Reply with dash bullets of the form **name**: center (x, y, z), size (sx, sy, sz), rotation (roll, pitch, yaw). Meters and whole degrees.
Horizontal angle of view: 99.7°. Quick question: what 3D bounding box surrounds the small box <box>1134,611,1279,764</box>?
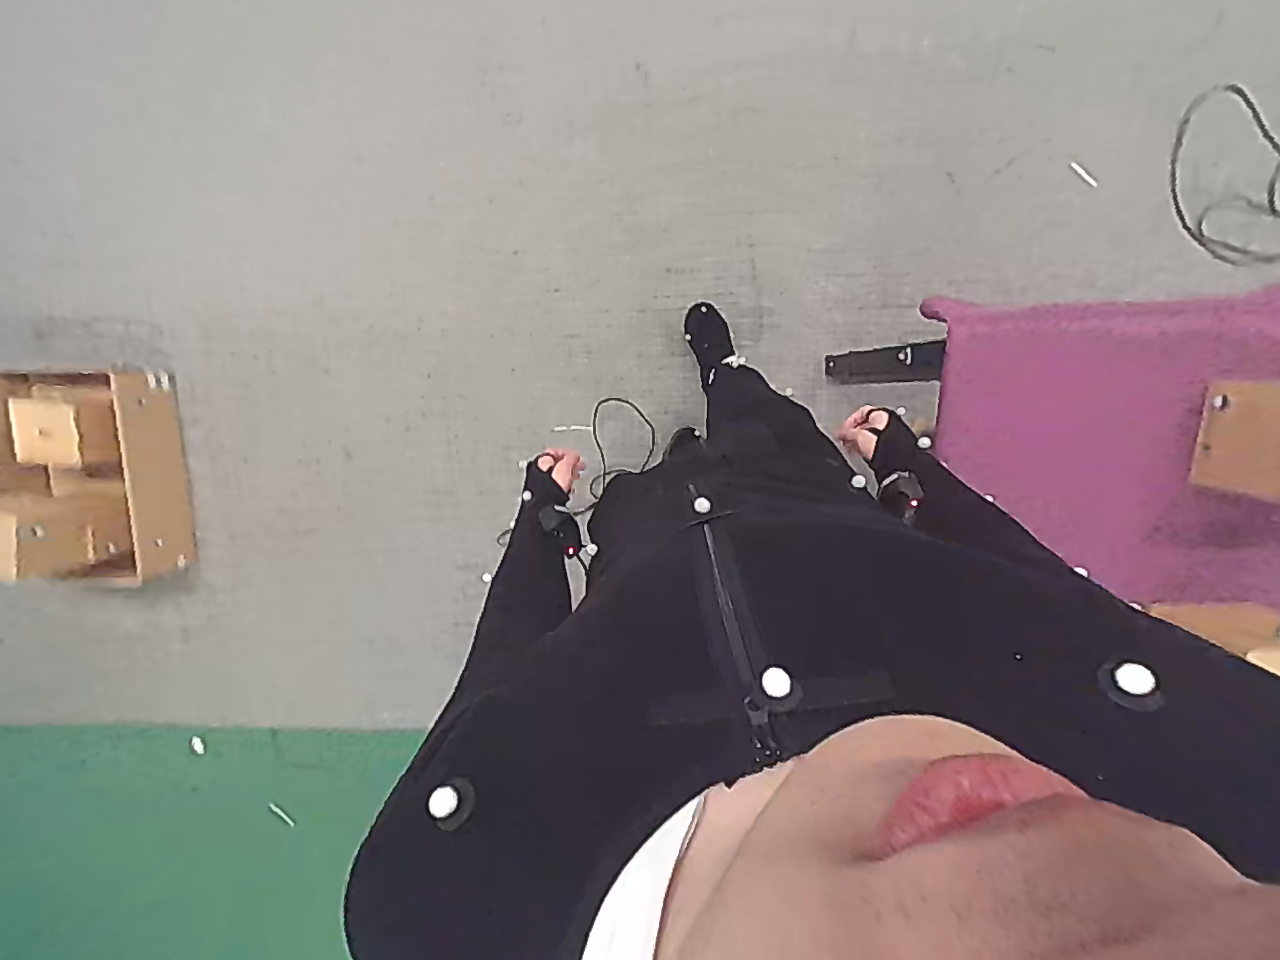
- **small box**: center (0.937, 0.313, 0.839), size (0.179, 0.176, 0.168), rotation (0, 99, 2)

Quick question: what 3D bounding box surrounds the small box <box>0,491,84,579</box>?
- **small box**: center (-1.603, 0.134, 1.400), size (0.168, 0.176, 0.179), rotation (11, 99, 1)

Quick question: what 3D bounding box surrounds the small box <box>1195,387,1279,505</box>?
- **small box**: center (0.968, -0.047, 0.772), size (0.179, 0.176, 0.168), rotation (2, 101, 2)
